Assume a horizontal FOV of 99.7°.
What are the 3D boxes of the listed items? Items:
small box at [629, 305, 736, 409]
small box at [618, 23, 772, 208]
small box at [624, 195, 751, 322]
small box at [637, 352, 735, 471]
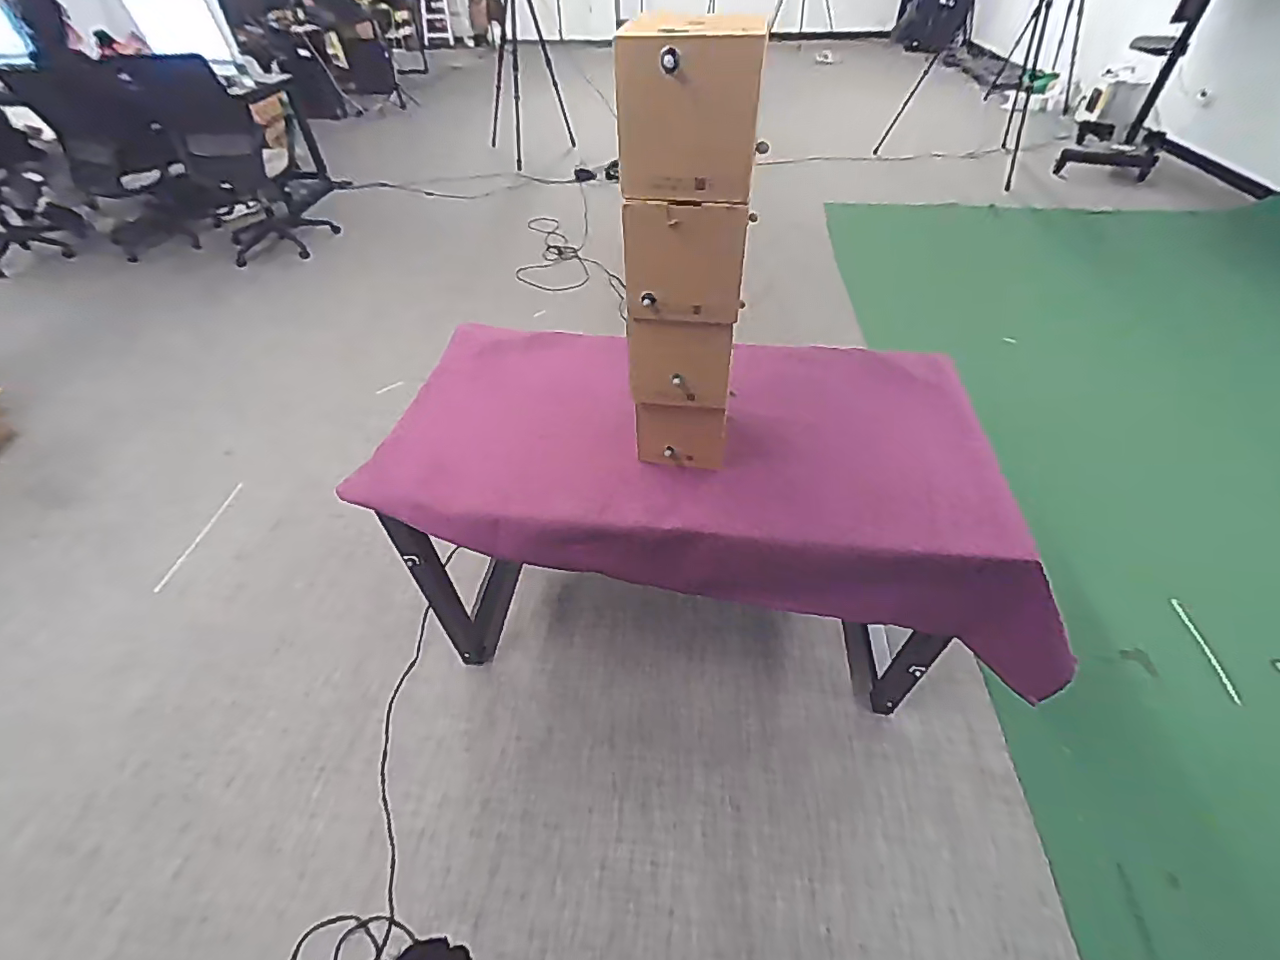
[{"bbox_3d":[0.079,-0.246,0.934,0.168,0.176,0.179,5,47,8],"label":"small box"},{"bbox_3d":[0.072,-0.470,0.696,0.168,0.176,0.179,7,46,10],"label":"small box"},{"bbox_3d":[0.077,-0.353,0.810,0.168,0.176,0.179,6,46,8],"label":"small box"},{"bbox_3d":[0.090,-0.143,1.062,0.168,0.176,0.179,7,47,9],"label":"small box"}]
